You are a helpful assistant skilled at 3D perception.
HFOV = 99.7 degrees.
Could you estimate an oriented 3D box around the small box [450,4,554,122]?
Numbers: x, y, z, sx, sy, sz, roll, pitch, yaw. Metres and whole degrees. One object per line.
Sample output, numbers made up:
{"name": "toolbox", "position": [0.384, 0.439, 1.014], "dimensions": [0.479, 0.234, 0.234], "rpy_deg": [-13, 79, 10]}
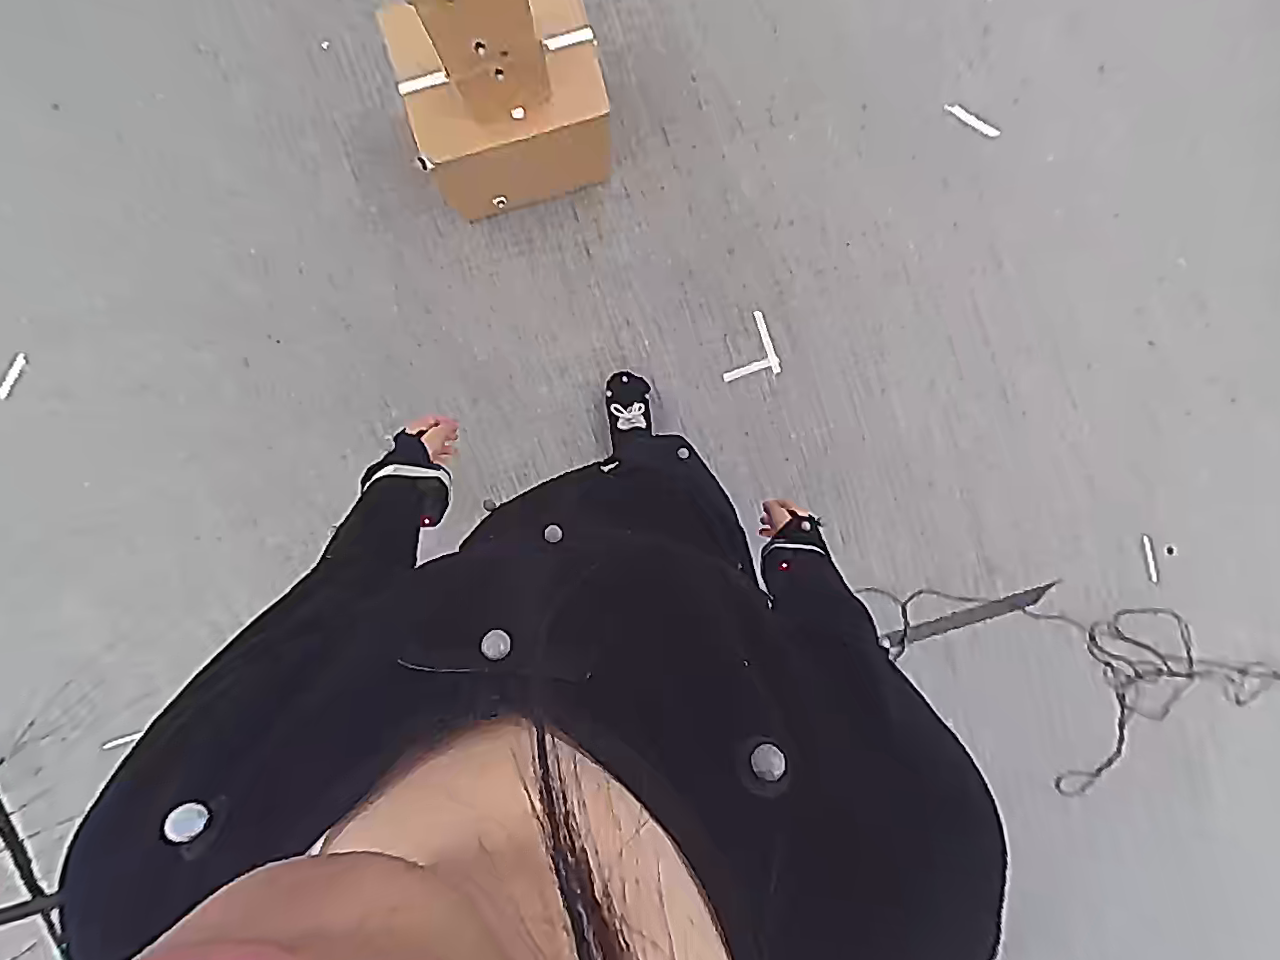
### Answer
{"name": "small box", "position": [-0.275, -0.818, 1.018], "dimensions": [0.179, 0.176, 0.168], "rpy_deg": [-19, 97, -1]}

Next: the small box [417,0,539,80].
{"name": "small box", "position": [-0.271, -0.793, 0.857], "dimensions": [0.168, 0.176, 0.179], "rpy_deg": [-18, 97, 0]}
